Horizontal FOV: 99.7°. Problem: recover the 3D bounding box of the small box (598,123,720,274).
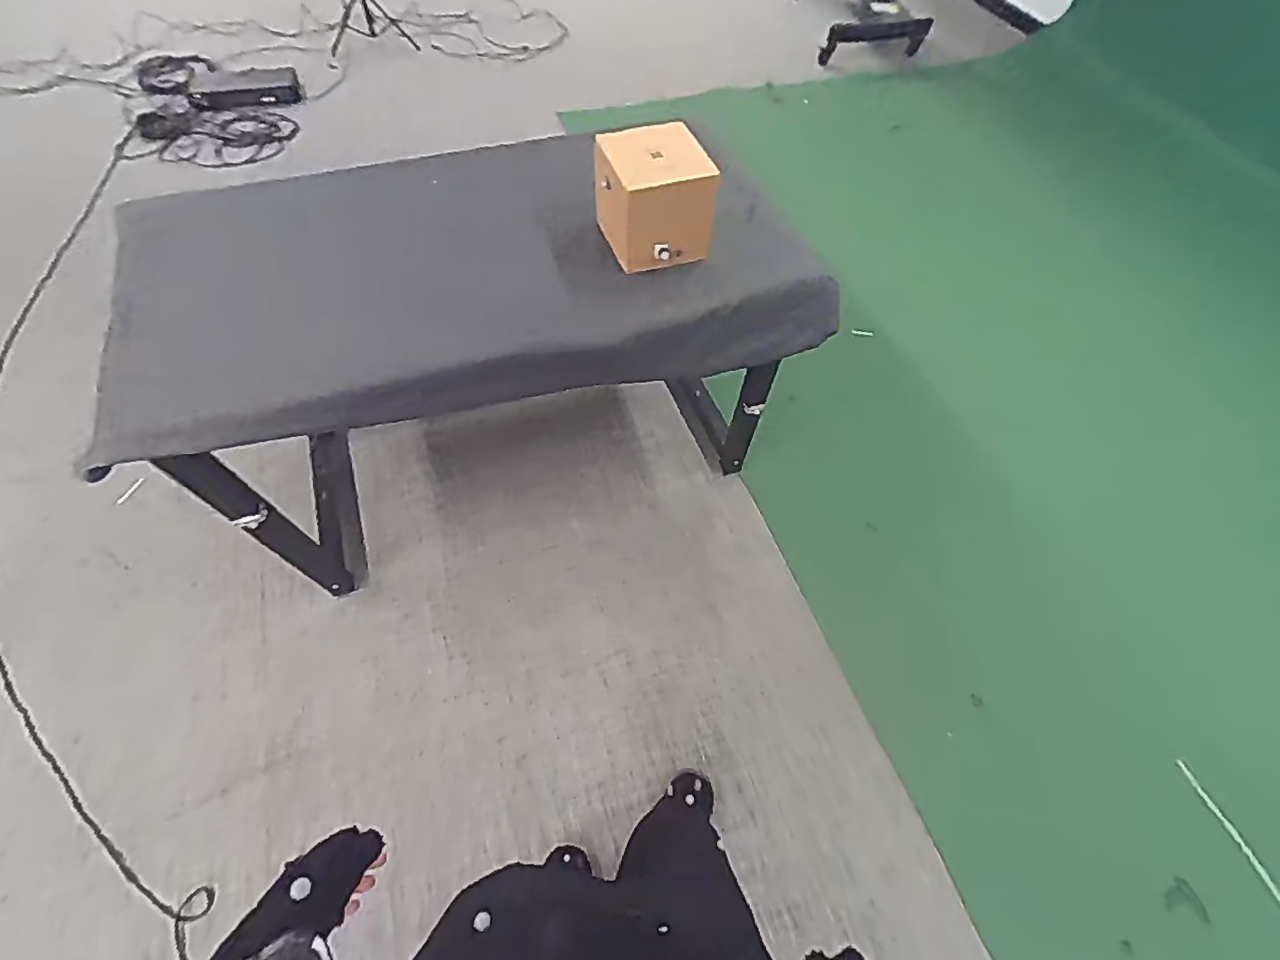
[{"bbox_3d":[0.028,-0.511,0.988,0.168,0.176,0.179,-18,62,-11],"label":"small box"}]
